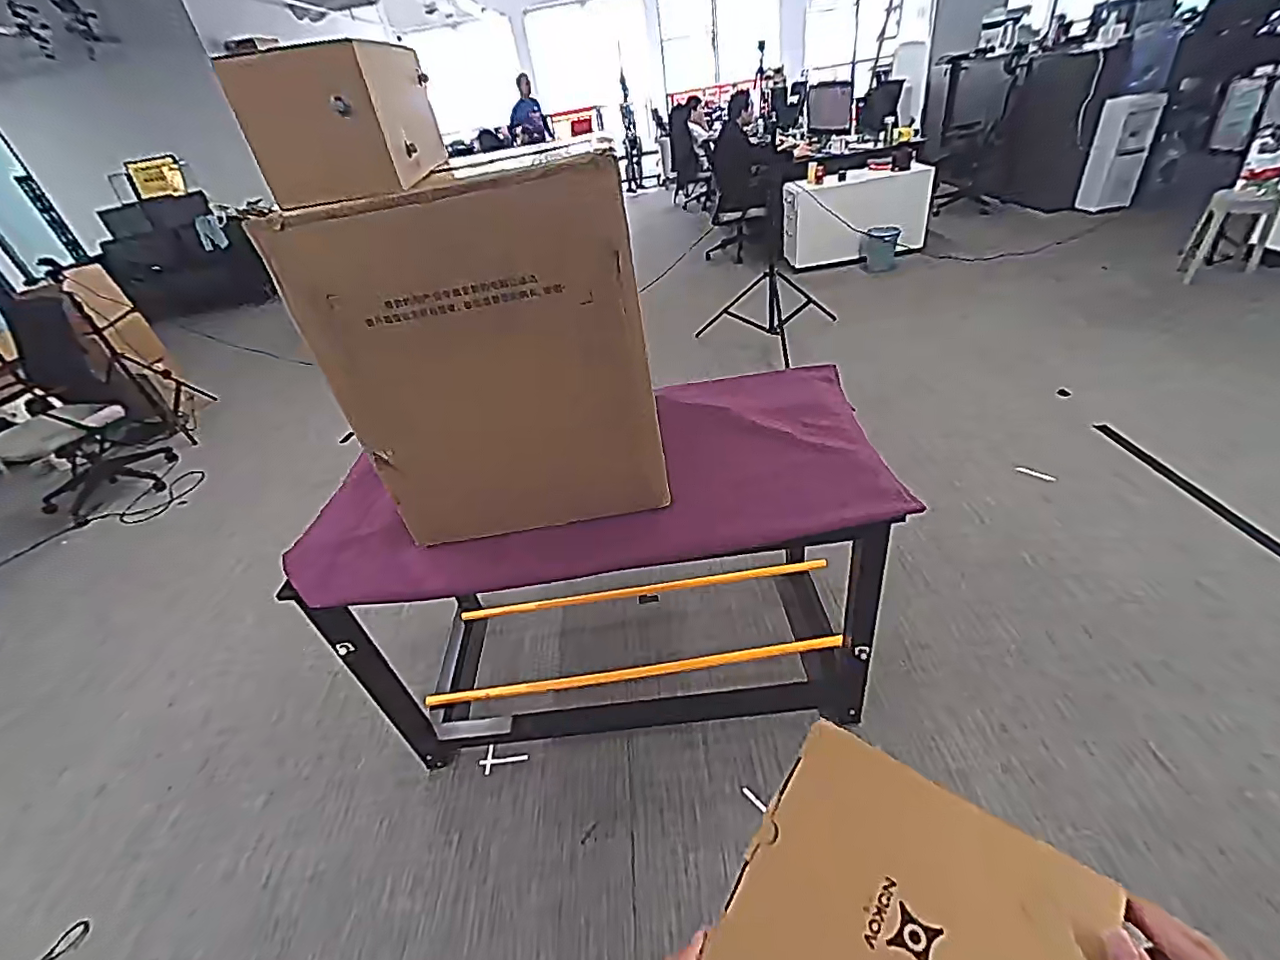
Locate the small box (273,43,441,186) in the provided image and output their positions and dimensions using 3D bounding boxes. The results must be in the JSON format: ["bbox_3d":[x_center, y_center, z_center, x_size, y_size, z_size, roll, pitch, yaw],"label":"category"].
[{"bbox_3d":[-0.448,-0.597,0.894,0.168,0.176,0.179,-9,36,1],"label":"small box"}]
